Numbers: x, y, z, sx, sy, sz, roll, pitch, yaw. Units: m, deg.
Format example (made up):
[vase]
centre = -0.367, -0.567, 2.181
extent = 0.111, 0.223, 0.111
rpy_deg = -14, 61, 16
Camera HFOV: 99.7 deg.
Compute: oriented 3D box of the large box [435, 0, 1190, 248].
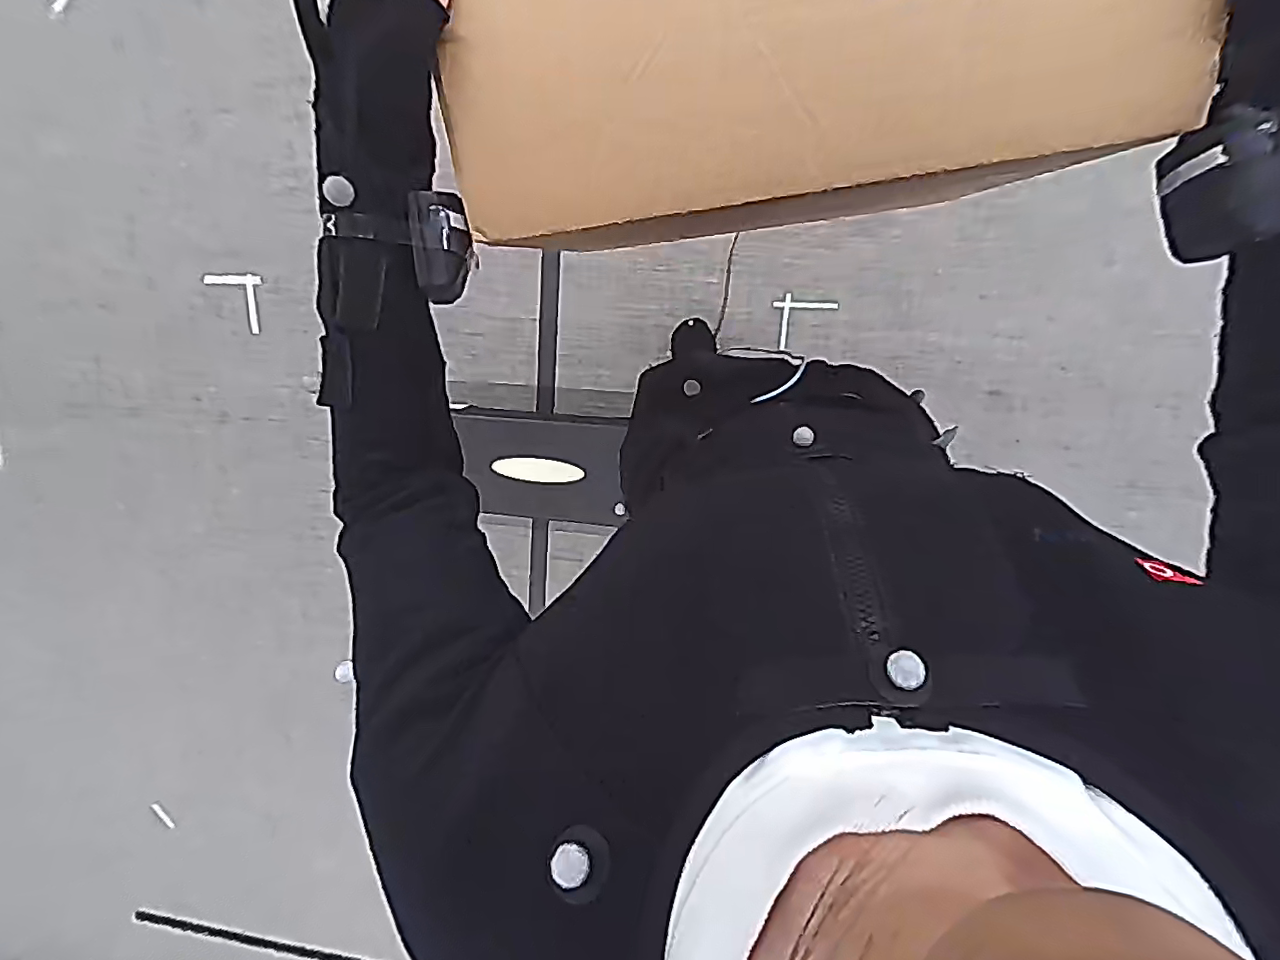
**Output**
[large box]
centre = 0.088, -0.377, 0.409
extent = 0.408, 0.320, 0.320
rpy_deg = -5, 112, 9
